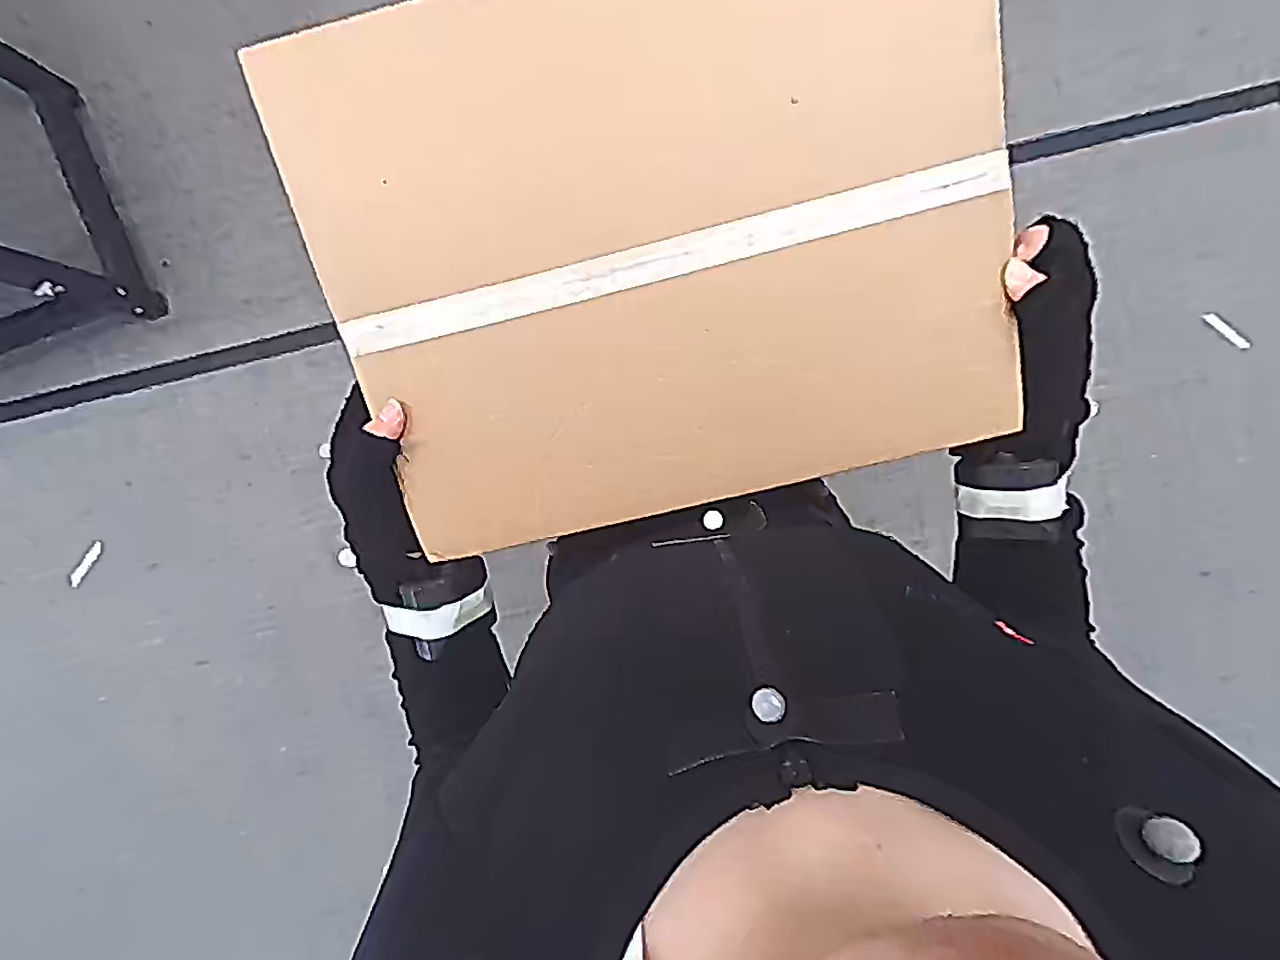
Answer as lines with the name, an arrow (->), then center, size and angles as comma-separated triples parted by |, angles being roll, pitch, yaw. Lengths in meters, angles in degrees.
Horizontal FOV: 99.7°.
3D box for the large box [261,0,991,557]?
large box -> 0.010, -0.174, 0.478 | 0.408, 0.320, 0.320 | -13, 105, 3
